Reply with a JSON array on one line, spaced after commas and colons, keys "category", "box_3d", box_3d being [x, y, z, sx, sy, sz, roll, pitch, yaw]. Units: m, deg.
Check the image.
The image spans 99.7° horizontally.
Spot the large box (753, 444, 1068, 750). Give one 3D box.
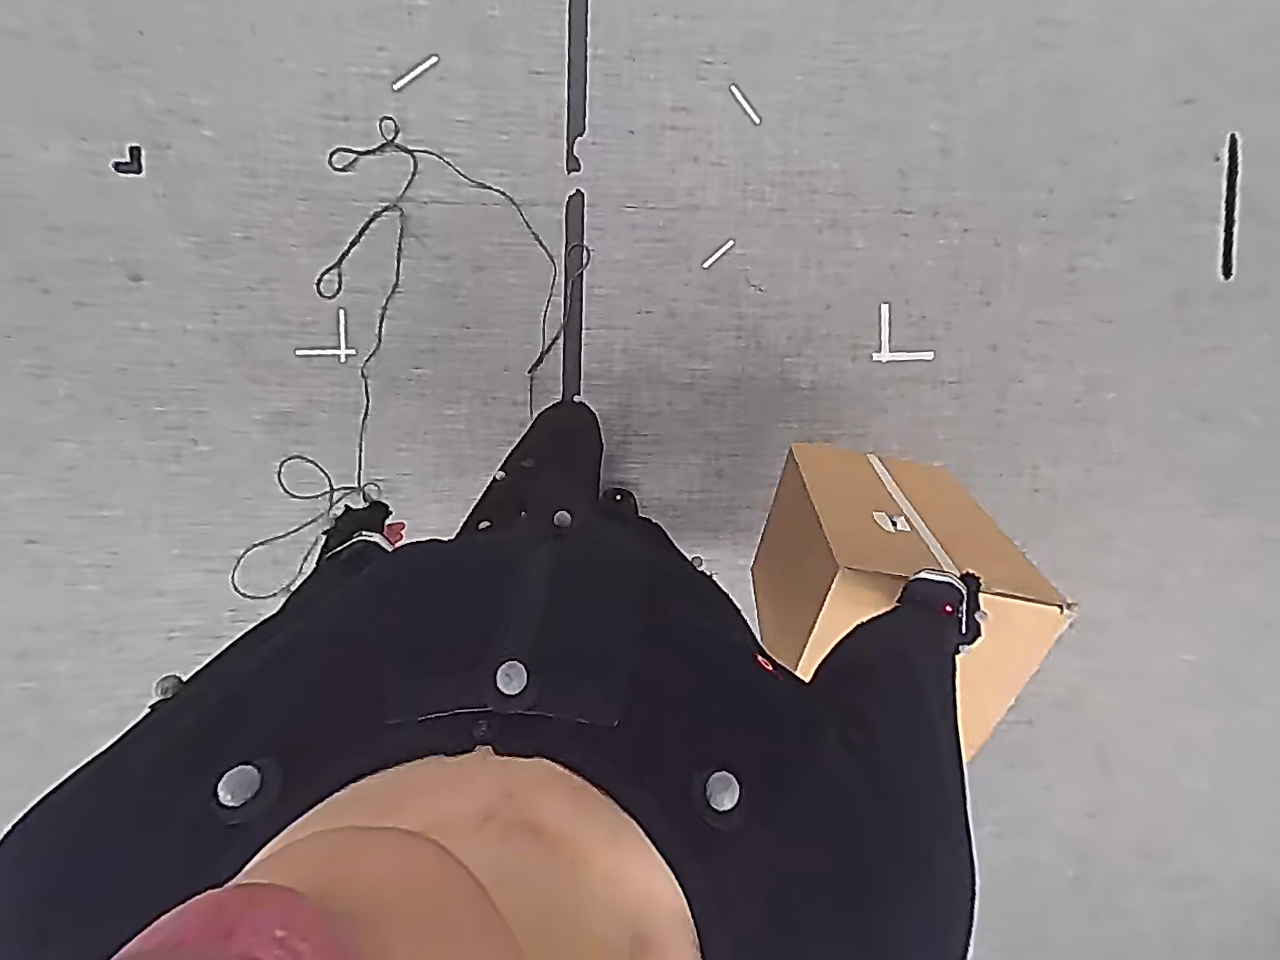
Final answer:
[{"category": "large box", "box_3d": [0.408, 0.181, 0.957, 0.320, 0.408, 0.320, 10, 119, 0]}]
